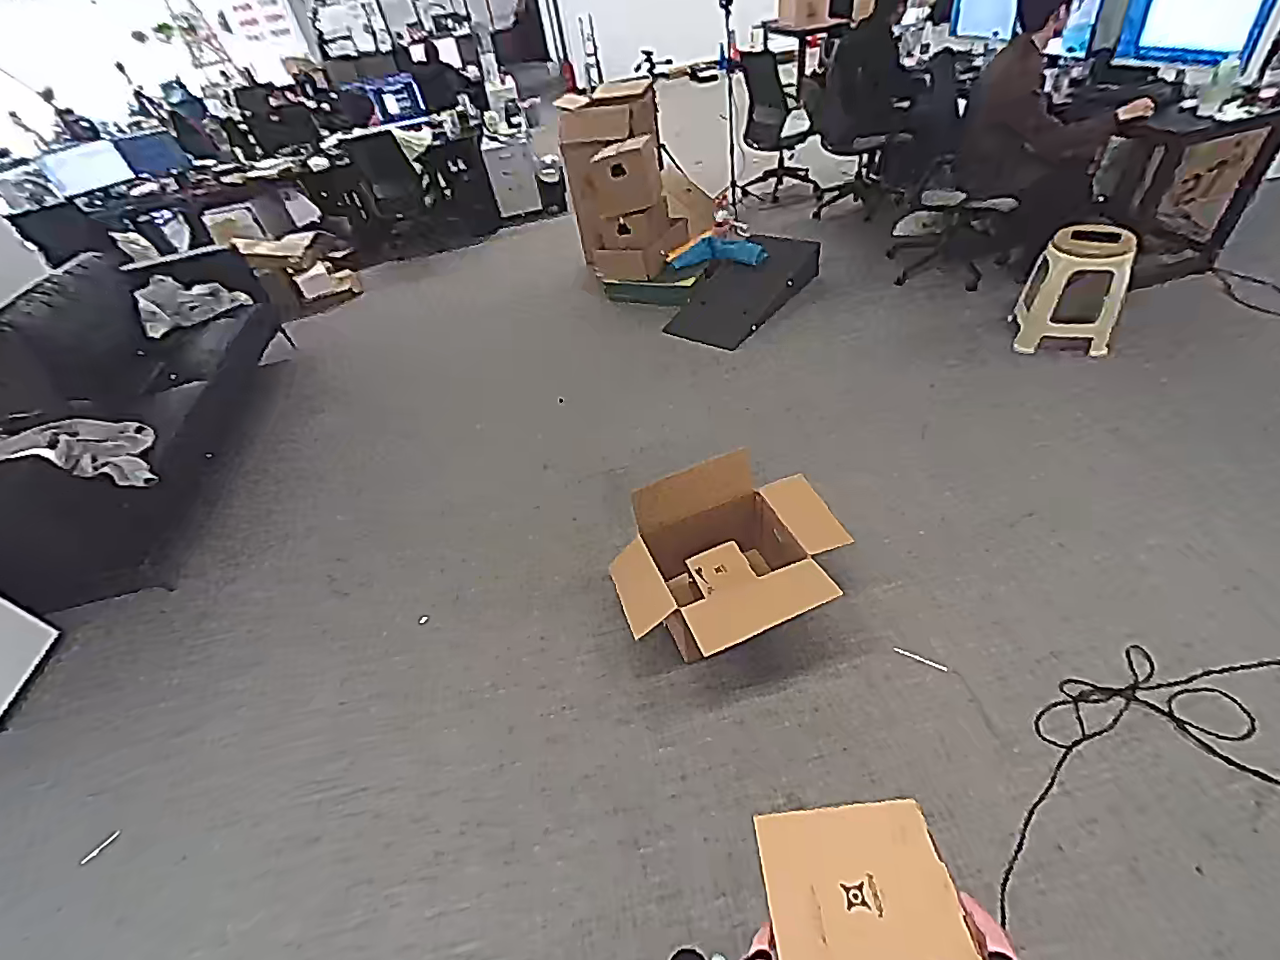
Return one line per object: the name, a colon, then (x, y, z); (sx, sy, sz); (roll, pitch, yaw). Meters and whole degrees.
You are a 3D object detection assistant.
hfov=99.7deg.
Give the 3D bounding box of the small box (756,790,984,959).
small box: (0.224, 0.451, 0.556); (0.179, 0.176, 0.168); (-10, 29, 9)
